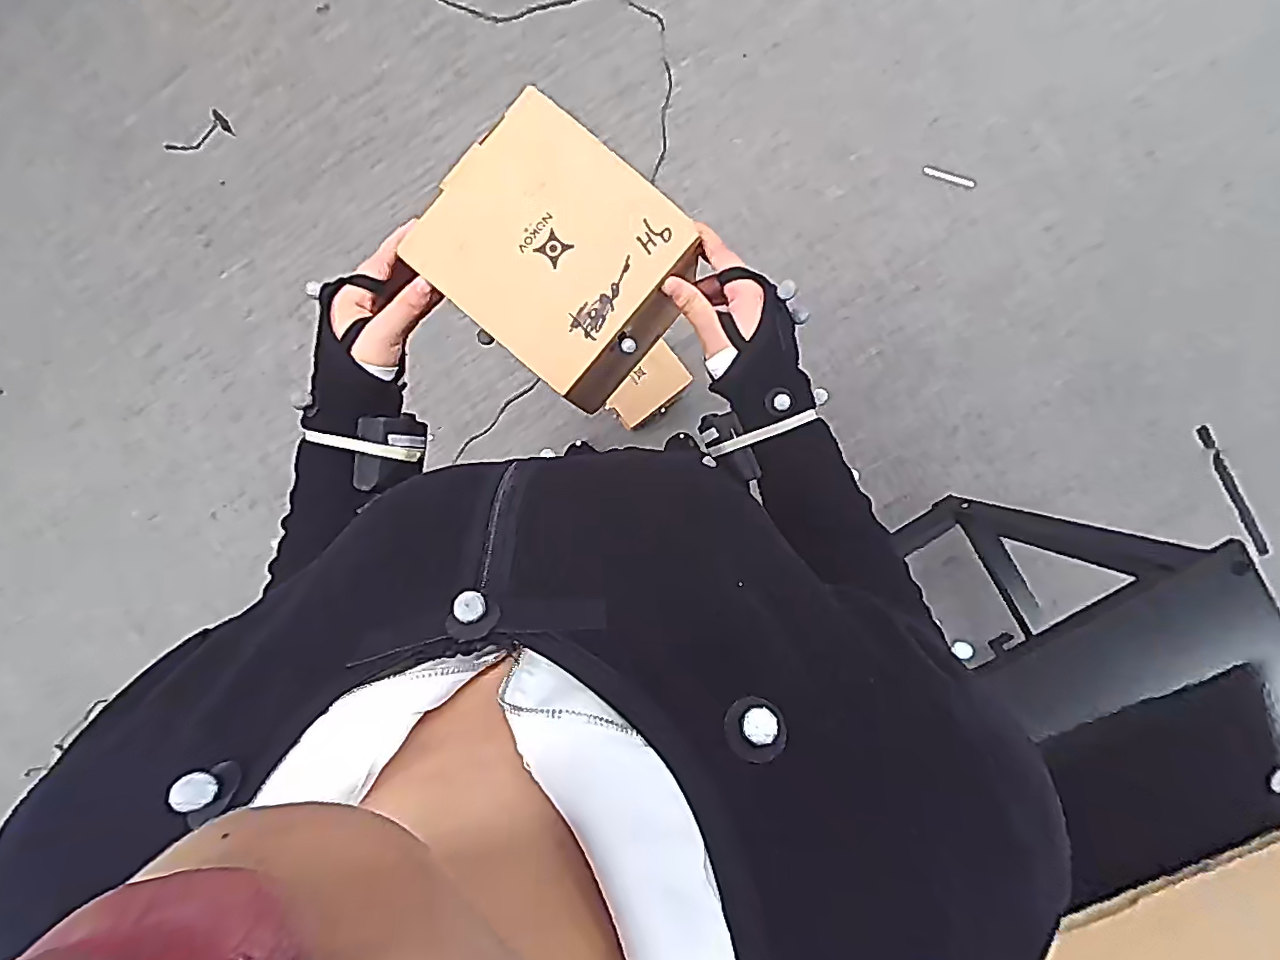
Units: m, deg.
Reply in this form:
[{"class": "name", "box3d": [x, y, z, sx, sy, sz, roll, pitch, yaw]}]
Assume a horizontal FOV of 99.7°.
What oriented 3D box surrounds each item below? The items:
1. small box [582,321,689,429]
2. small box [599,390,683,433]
[{"class": "small box", "box3d": [-0.007, -0.228, 1.235, 0.179, 0.176, 0.168, -39, 94, 3]}, {"class": "small box", "box3d": [-0.008, -0.236, 1.397, 0.179, 0.176, 0.168, -35, 93, 4]}]
